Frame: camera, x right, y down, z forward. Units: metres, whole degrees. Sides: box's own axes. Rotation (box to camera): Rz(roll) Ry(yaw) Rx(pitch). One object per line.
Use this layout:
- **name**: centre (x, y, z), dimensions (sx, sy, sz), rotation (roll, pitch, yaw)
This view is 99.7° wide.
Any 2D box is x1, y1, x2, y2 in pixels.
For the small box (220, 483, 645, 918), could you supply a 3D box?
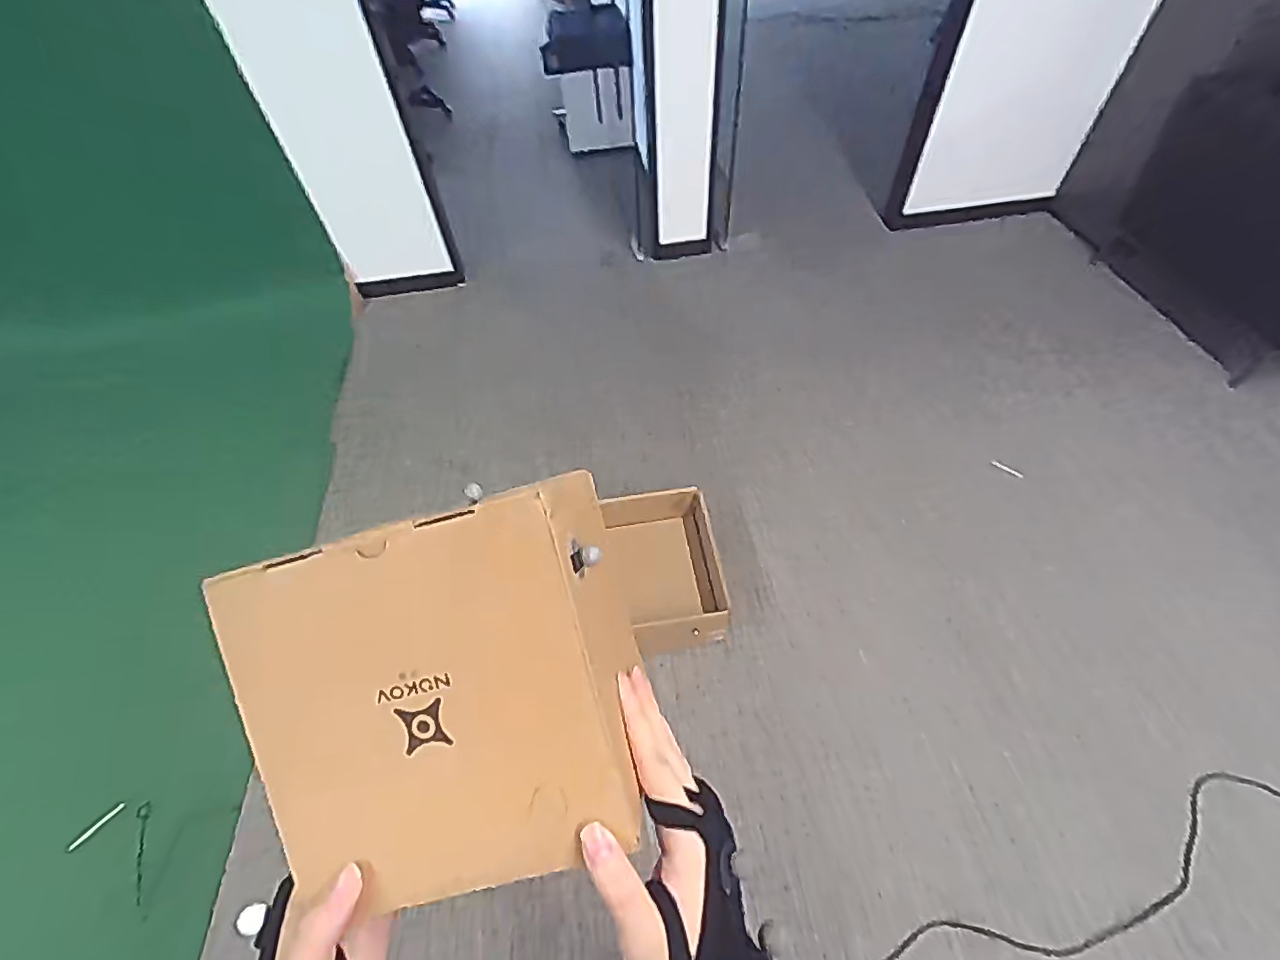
- **small box**: centre (-0.096, 0.107, 0.335), dimensions (0.168, 0.176, 0.179), rotation (-15, 92, 3)
